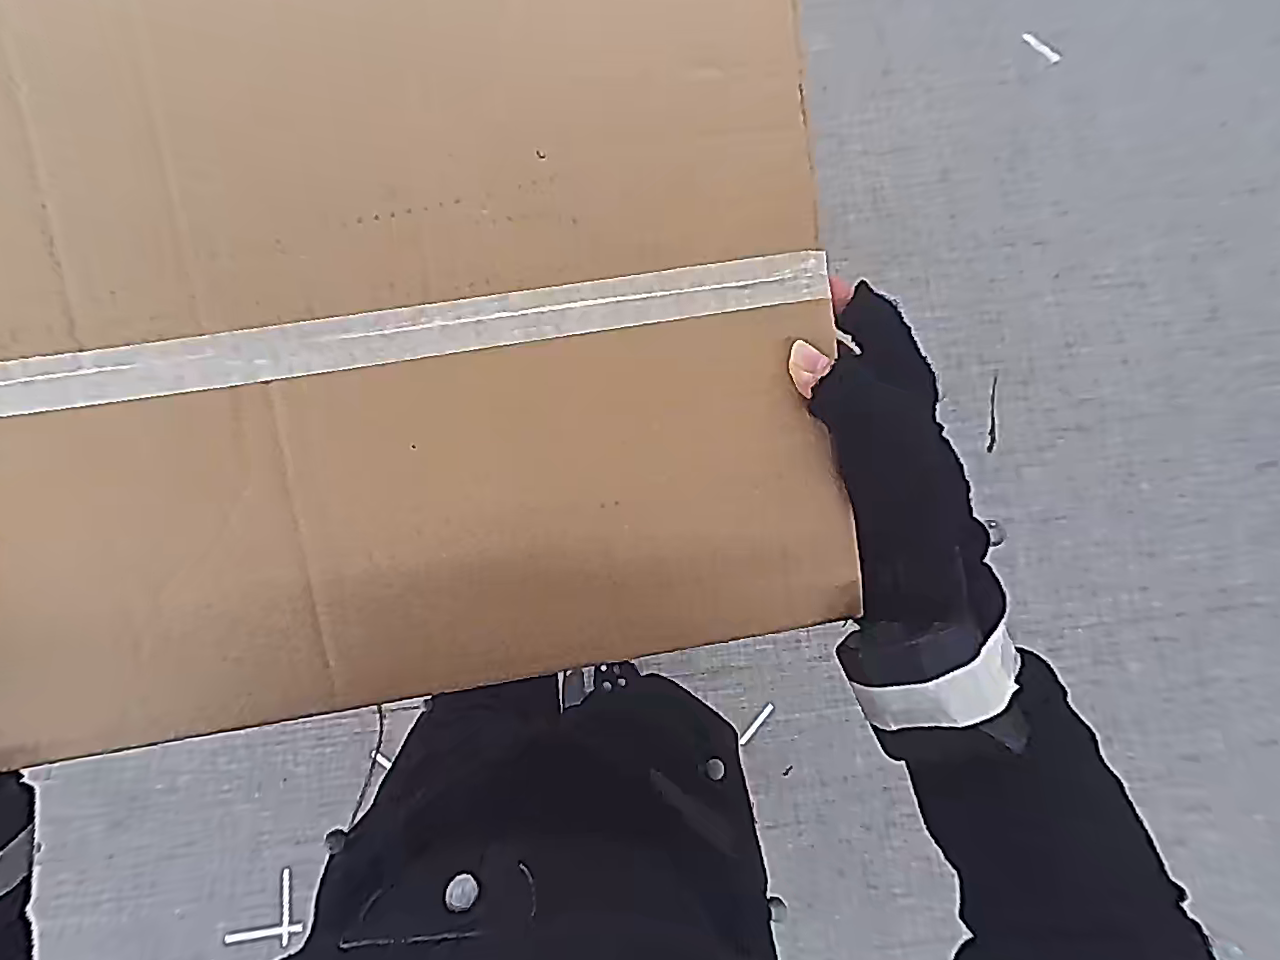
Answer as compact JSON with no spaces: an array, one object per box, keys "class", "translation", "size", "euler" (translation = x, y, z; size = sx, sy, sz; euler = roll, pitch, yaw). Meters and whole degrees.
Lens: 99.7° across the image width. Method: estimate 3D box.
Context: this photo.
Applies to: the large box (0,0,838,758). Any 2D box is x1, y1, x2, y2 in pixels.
[{"class":"large box","translation":[-0.129,-0.073,0.384],"size":[0.408,0.320,0.320],"euler":[-9,96,-4]}]
